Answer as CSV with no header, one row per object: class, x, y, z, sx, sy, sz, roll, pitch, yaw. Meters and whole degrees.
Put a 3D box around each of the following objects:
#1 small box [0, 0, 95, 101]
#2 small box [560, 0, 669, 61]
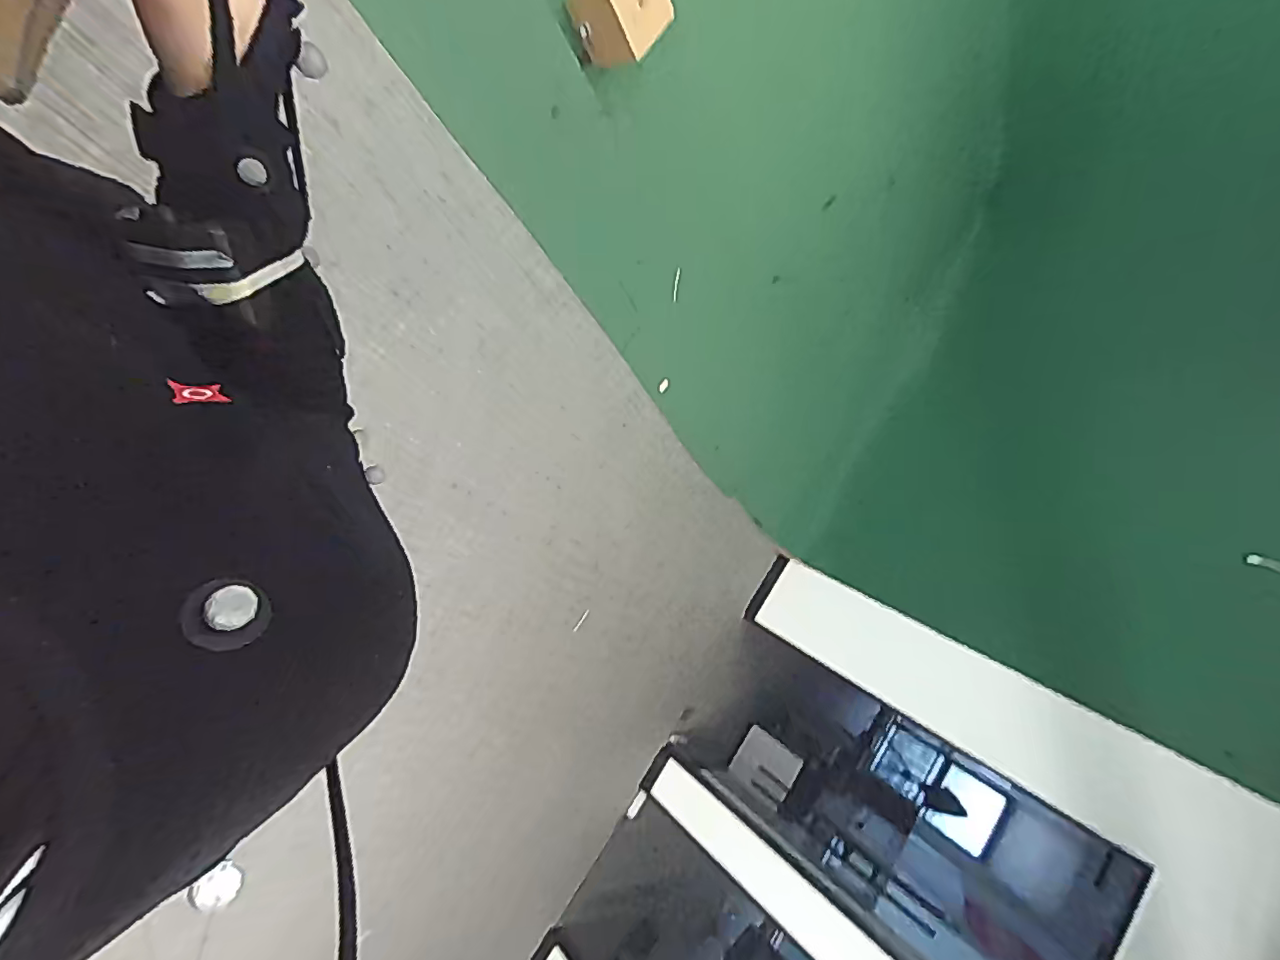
small box,-0.282,-0.263,0.174,0.168,0.176,0.179,27,93,-48
small box,-0.065,-1.187,1.340,0.179,0.176,0.168,-56,141,-8
